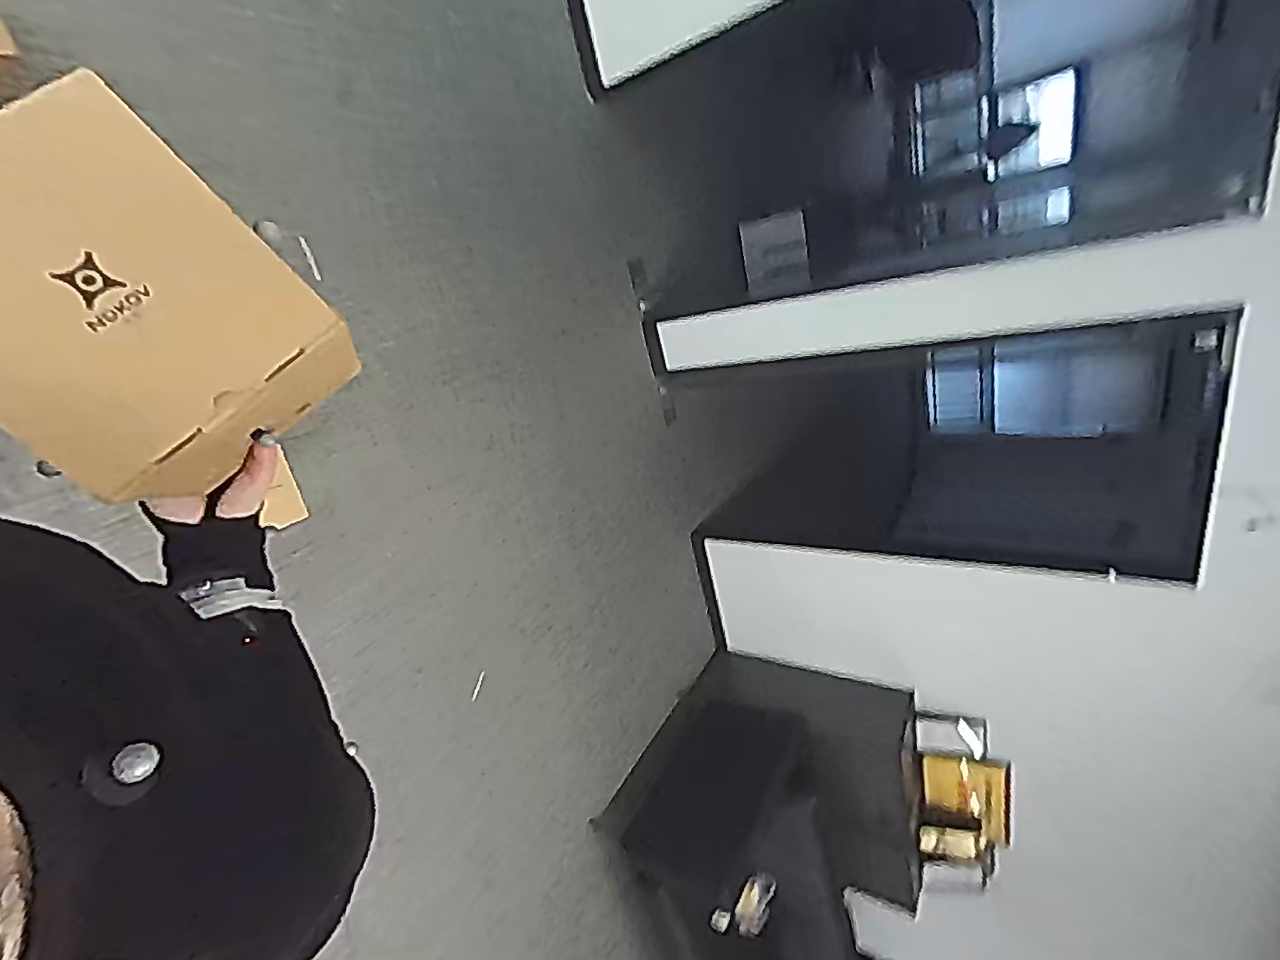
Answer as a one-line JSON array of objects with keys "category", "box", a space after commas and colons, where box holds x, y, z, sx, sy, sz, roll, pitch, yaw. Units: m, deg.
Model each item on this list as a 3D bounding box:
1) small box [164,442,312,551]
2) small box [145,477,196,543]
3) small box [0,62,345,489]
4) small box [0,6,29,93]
[{"category": "small box", "box": [-0.811, 0.028, 1.088, 0.179, 0.176, 0.168, -34, 118, -49]}, {"category": "small box", "box": [-0.942, 0.023, 1.189, 0.179, 0.176, 0.168, -34, 119, -47]}, {"category": "small box", "box": [-0.335, -0.110, 0.366, 0.179, 0.176, 0.168, 47, 74, -18]}, {"category": "small box", "box": [-1.155, -0.741, 0.865, 0.179, 0.176, 0.168, -40, 124, -46]}]
